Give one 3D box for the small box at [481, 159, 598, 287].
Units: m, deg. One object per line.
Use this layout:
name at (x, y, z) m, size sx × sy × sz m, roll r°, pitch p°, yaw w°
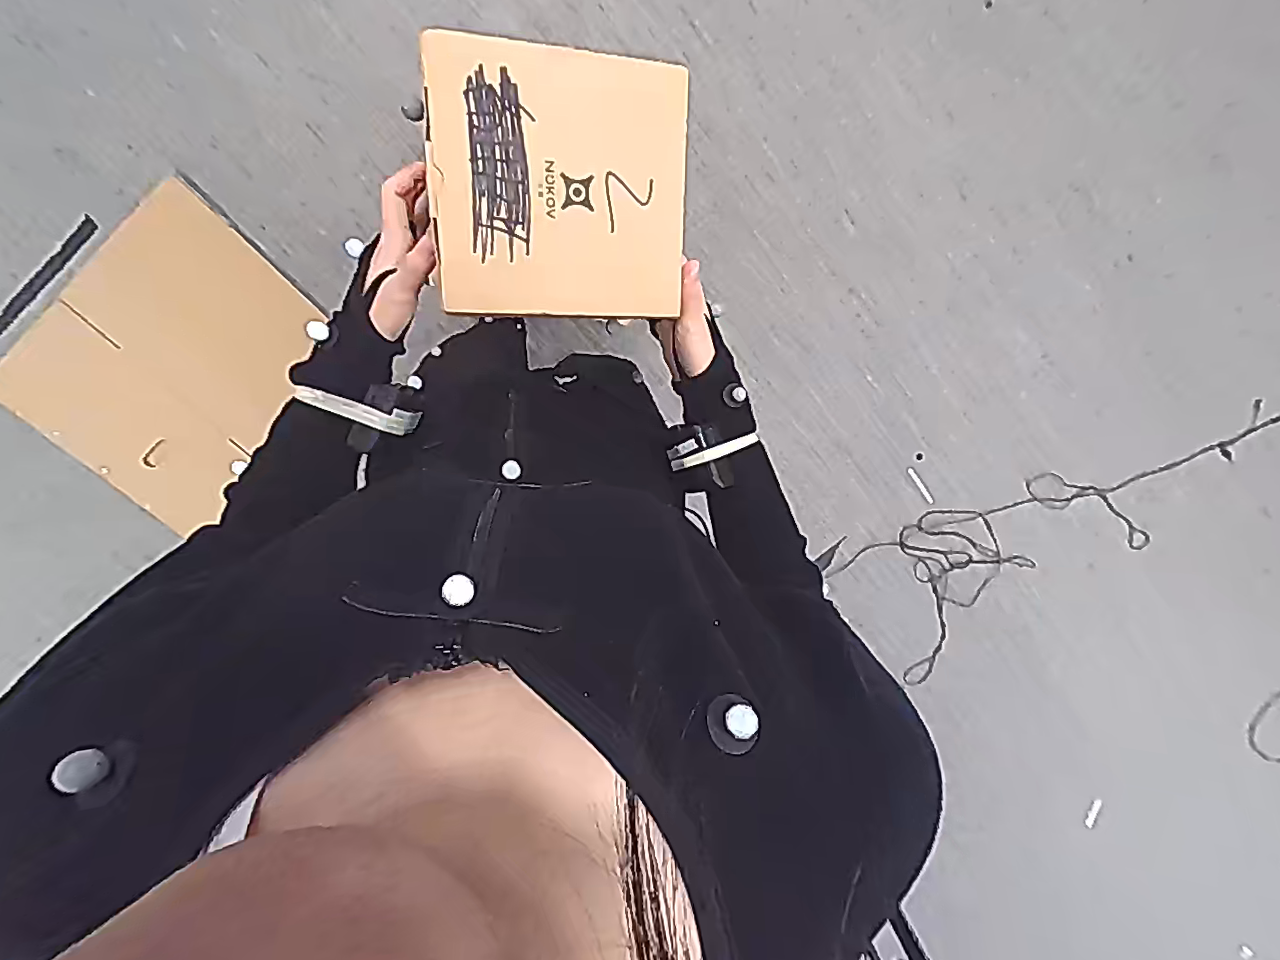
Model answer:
small box at (-0.174, -0.442, 0.960) m, size 0.179 × 0.176 × 0.168 m, roll 7°, pitch 108°, yaw -9°
